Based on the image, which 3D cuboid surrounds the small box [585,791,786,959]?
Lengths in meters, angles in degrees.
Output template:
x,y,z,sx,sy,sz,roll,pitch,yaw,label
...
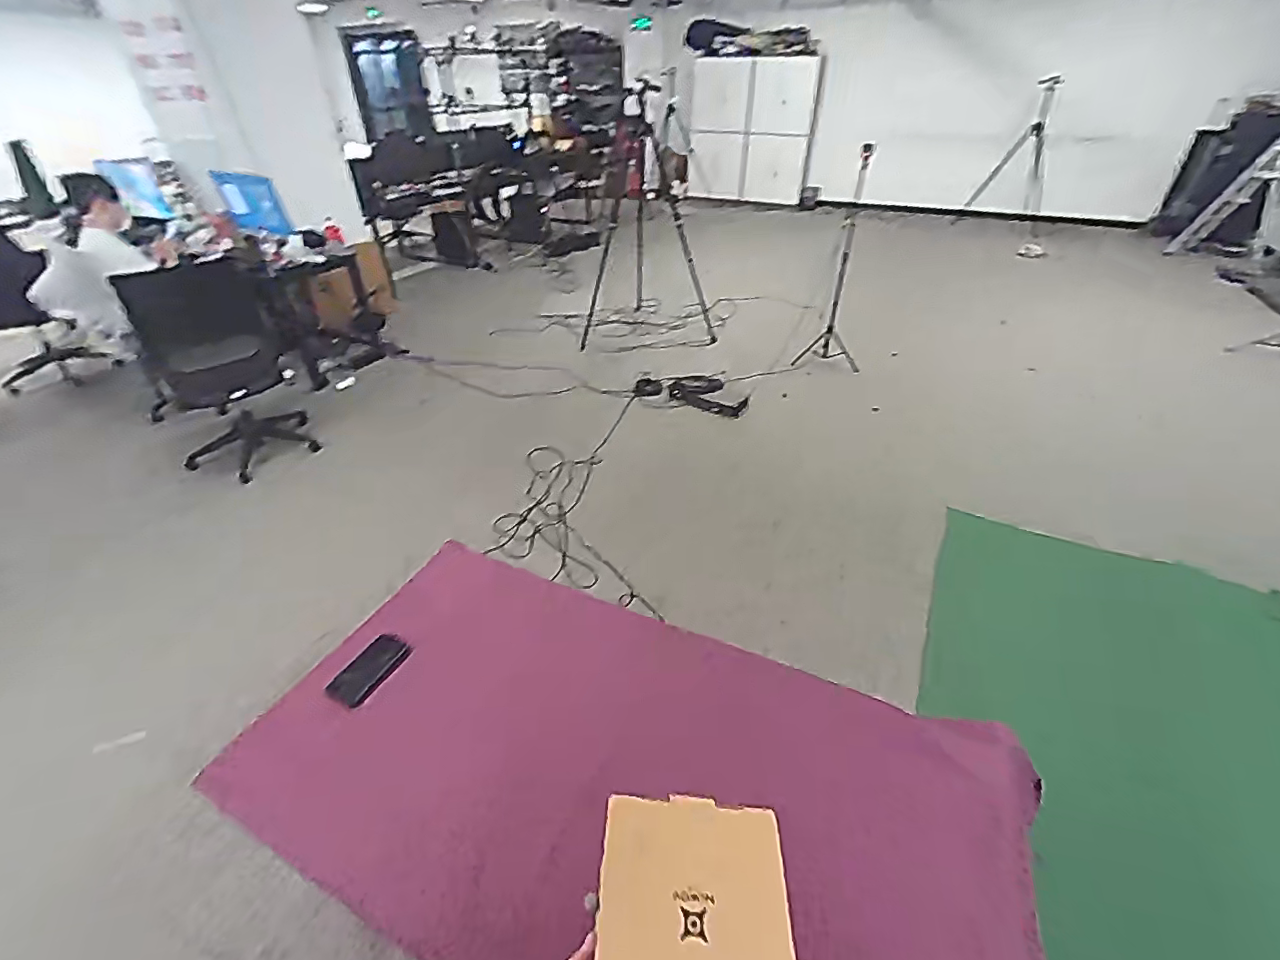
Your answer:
x,y,z,sx,sy,sz,roll,pitch,yaw,label
0.034,0.428,0.509,0.168,0.176,0.179,5,38,0,small box
